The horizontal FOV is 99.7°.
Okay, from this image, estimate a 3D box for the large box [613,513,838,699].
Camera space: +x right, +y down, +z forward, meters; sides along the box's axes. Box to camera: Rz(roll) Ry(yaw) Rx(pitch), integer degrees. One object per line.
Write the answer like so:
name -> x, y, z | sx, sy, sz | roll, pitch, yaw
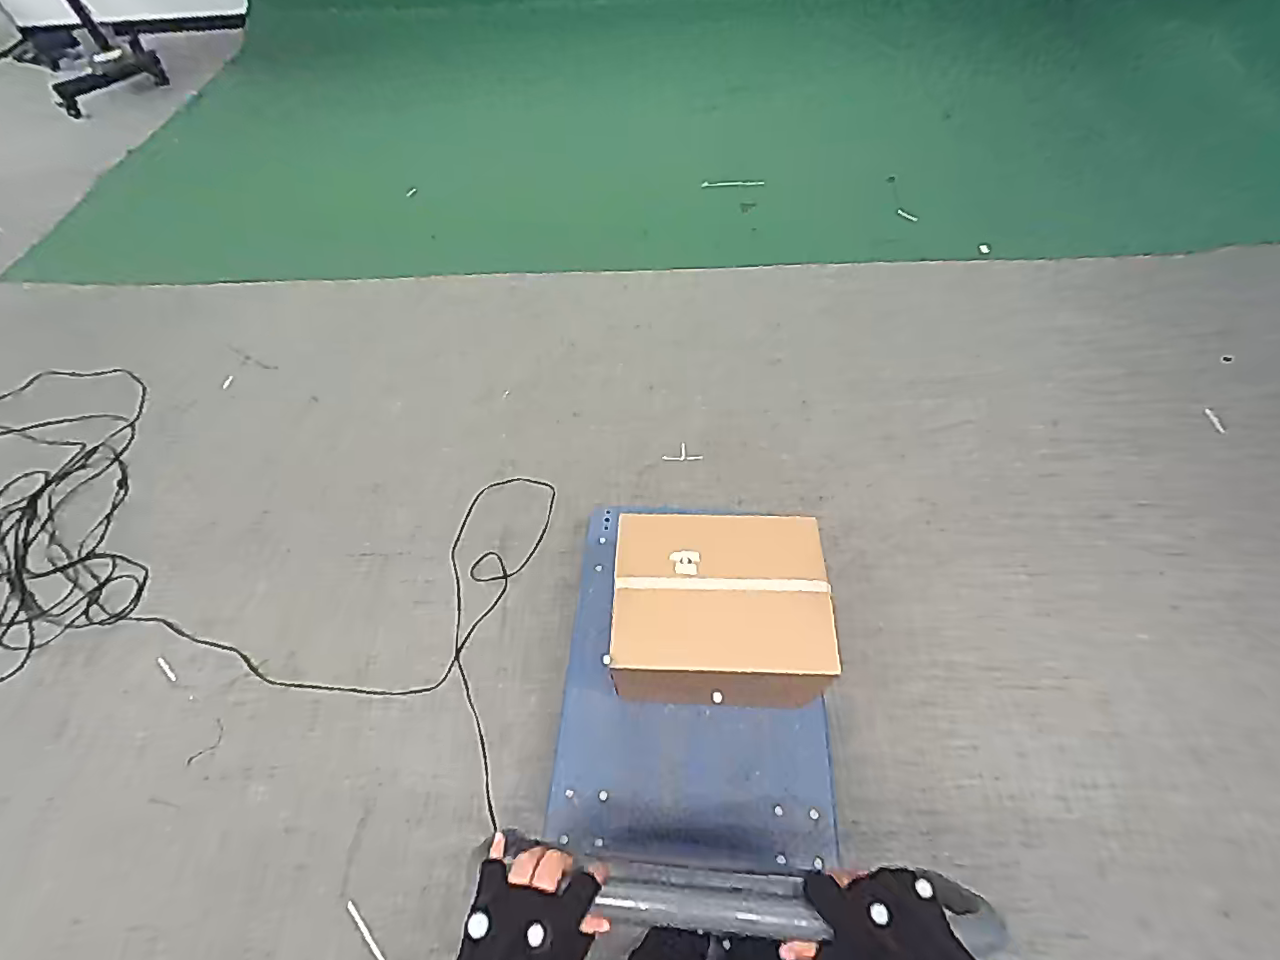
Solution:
large box -> 0.161, 0.279, 1.158 | 0.408, 0.320, 0.320 | 0, 56, 3
